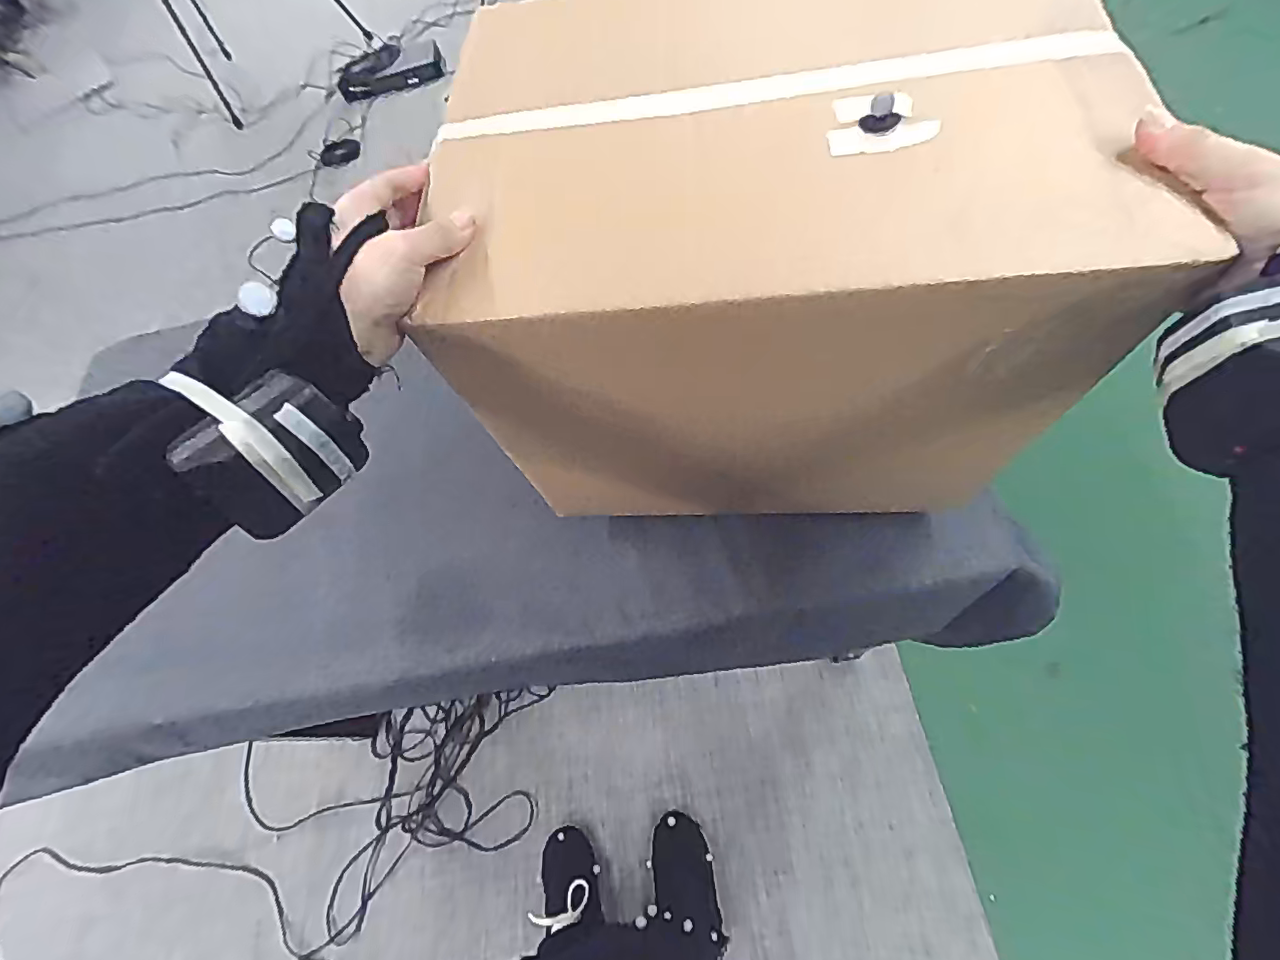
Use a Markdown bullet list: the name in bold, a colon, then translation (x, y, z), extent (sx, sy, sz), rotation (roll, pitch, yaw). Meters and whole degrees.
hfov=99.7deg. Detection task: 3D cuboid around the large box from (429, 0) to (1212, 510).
- **large box**: translation (0.096, -0.173, 0.473), extent (0.408, 0.320, 0.320), rotation (-2, 67, 7)
